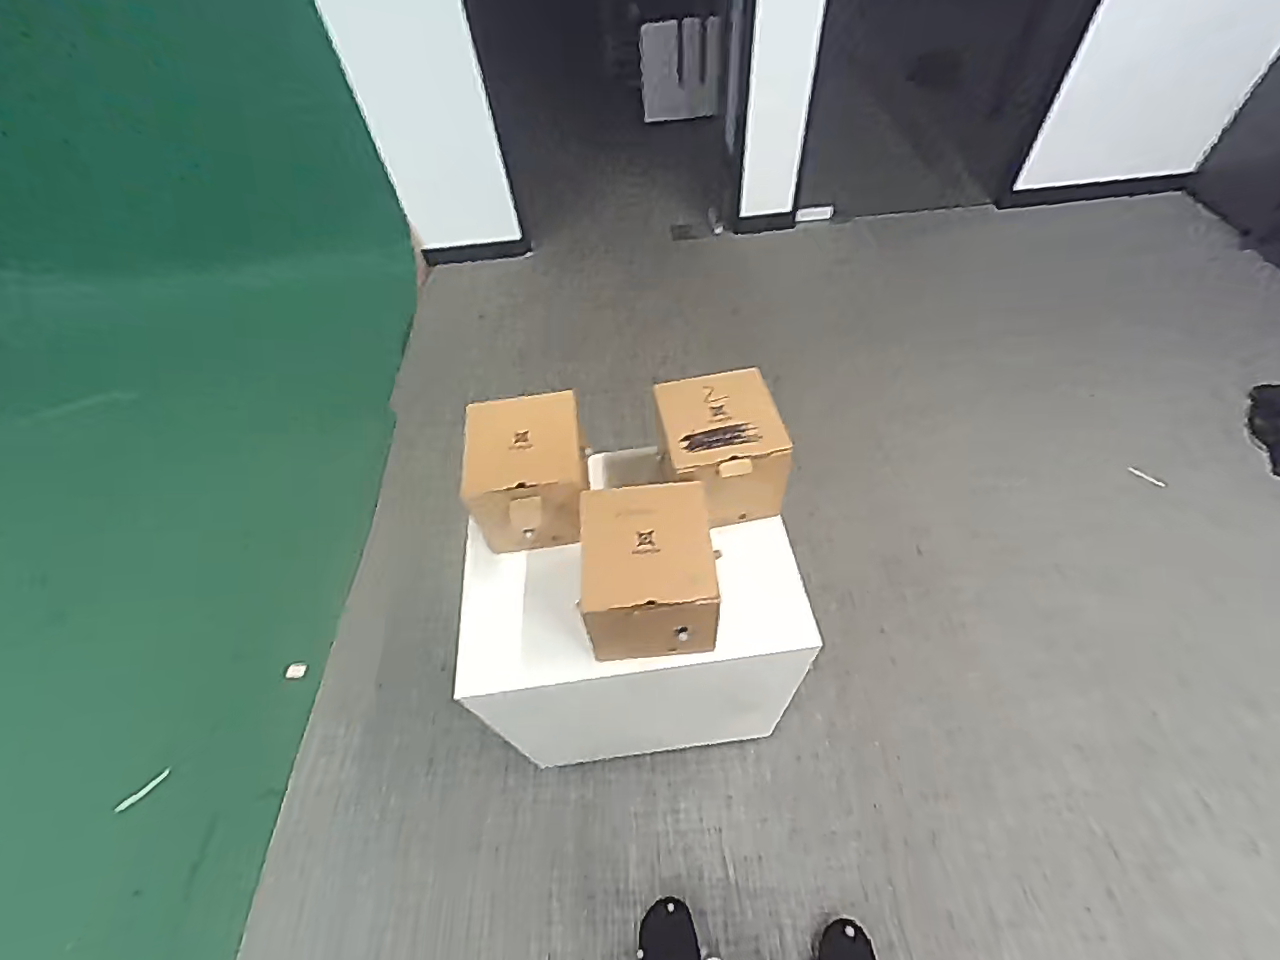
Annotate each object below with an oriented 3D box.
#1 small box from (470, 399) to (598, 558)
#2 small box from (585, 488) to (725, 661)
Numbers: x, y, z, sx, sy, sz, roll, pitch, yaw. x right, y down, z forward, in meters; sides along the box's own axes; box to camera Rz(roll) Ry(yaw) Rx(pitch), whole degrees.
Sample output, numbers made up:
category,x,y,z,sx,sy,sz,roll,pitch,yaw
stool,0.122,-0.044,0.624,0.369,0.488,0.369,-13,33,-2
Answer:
category,x,y,z,sx,sy,sz,roll,pitch,yaw
small box,-0.157,-0.001,0.849,0.168,0.176,0.179,-8,54,-2
small box,0.021,0.134,0.730,0.168,0.176,0.179,-4,51,1
